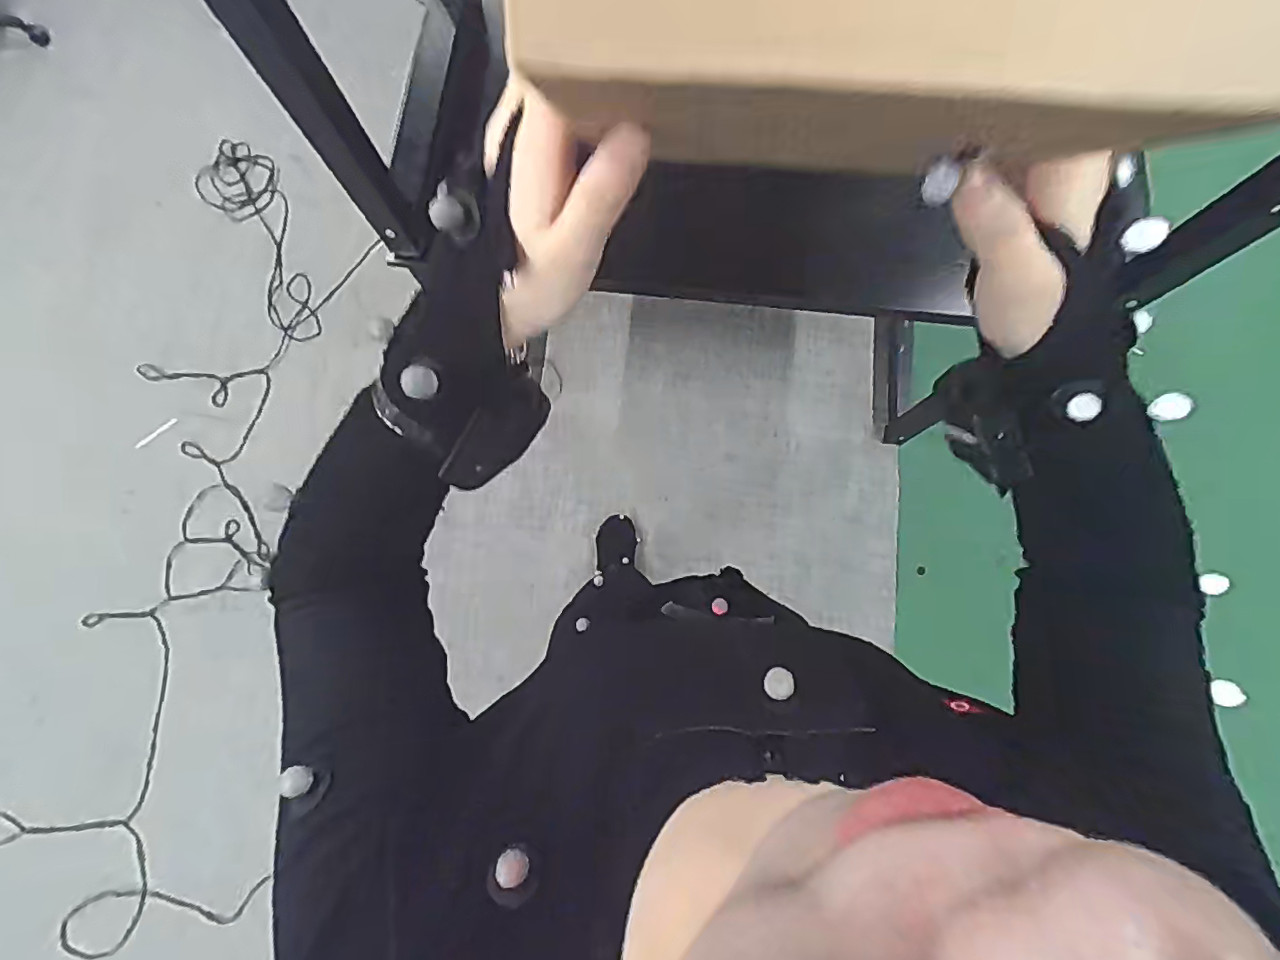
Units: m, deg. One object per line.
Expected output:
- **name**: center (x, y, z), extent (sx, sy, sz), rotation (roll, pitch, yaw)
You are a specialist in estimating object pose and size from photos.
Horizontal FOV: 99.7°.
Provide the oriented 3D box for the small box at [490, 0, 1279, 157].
- **small box**: center (0.062, -0.195, 0.150), extent (0.179, 0.176, 0.168), rotation (4, 116, 1)
